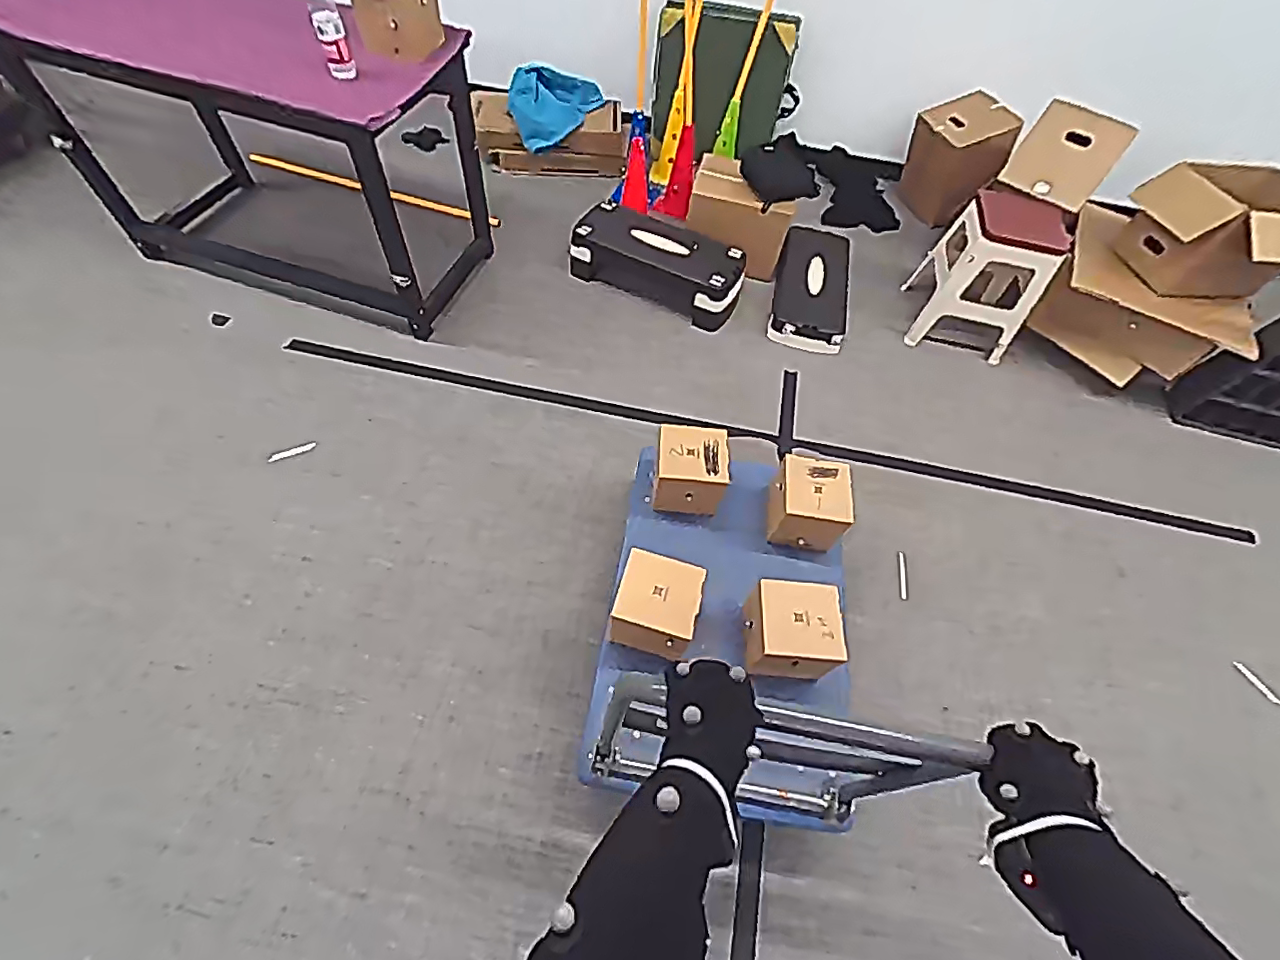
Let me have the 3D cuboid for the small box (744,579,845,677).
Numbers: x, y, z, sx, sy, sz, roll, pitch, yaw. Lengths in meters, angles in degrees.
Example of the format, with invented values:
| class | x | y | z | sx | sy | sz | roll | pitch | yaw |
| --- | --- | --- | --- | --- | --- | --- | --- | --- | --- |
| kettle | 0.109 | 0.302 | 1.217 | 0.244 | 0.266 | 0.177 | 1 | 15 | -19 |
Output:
| class | x | y | z | sx | sy | sz | roll | pitch | yaw |
| --- | --- | --- | --- | --- | --- | --- | --- | --- | --- |
| small box | 0.337 | 0.339 | 1.220 | 0.179 | 0.176 | 0.168 | 6 | 58 | -2 |

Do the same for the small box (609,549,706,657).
| class | x | y | z | sx | sy | sz | roll | pitch | yaw |
| --- | --- | --- | --- | --- | --- | --- | --- | --- | --- |
| small box | 0.035 | 0.283 | 1.223 | 0.179 | 0.176 | 0.168 | 16 | 57 | 3 |

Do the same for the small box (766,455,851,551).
| class | x | y | z | sx | sy | sz | roll | pitch | yaw |
| --- | --- | --- | --- | --- | --- | --- | --- | --- | --- |
| small box | 0.431 | 0.062 | 1.405 | 0.168 | 0.176 | 0.179 | 9 | 58 | 0 |
